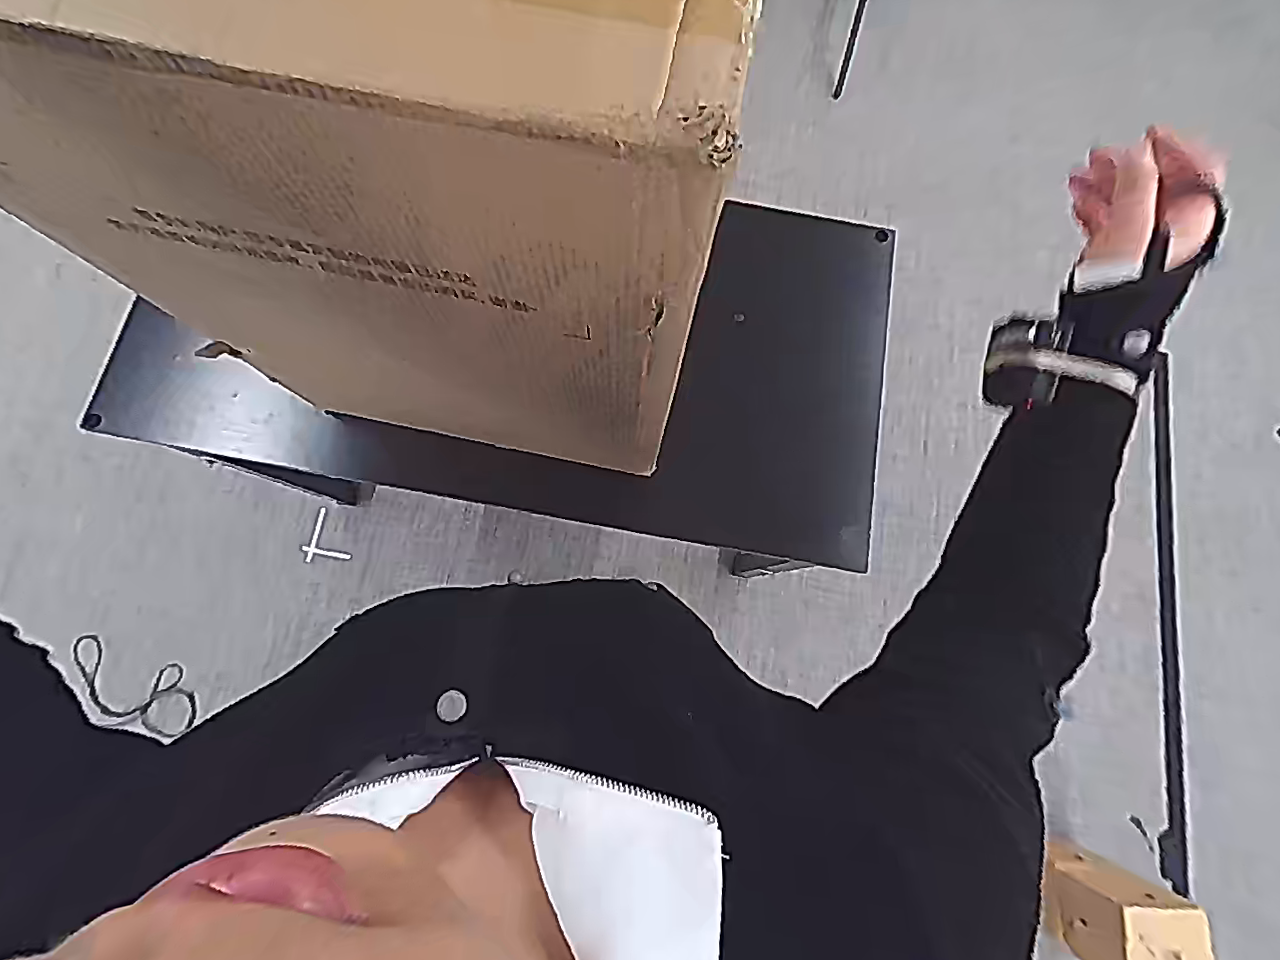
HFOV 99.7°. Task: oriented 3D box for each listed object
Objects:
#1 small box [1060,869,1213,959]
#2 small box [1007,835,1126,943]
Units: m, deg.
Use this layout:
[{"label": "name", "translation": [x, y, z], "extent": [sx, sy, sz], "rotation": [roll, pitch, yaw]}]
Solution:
[{"label": "small box", "translation": [1.052, 0.960, 1.151], "extent": [0.179, 0.176, 0.168], "rotation": [3, 76, -2]}, {"label": "small box", "translation": [1.034, 0.991, 1.313], "extent": [0.179, 0.176, 0.168], "rotation": [7, 76, 1]}]
